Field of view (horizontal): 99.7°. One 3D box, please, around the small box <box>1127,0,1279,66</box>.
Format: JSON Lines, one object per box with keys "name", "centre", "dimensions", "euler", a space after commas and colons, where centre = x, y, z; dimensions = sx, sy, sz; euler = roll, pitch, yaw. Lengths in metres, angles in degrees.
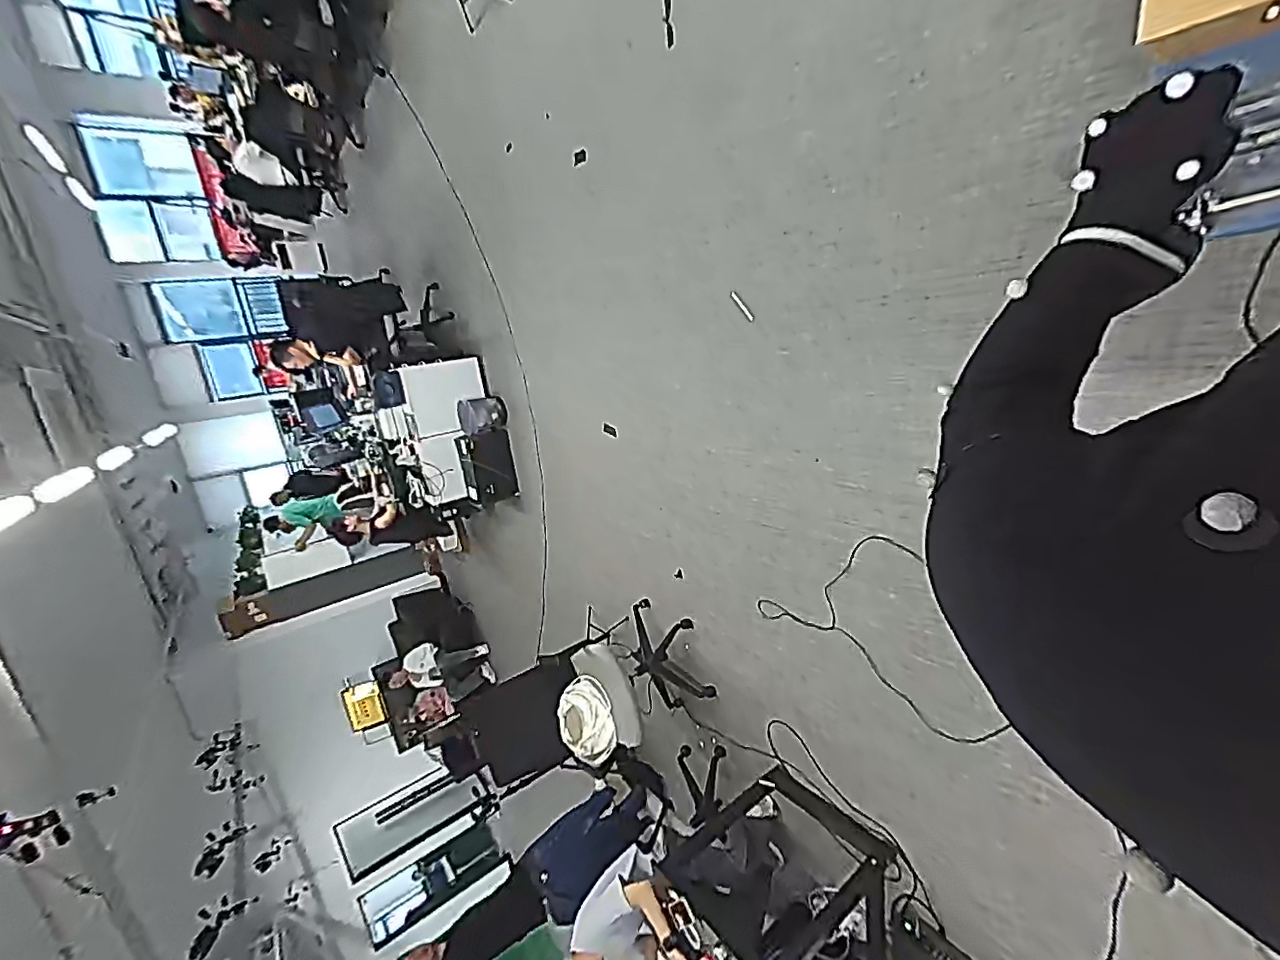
{"name": "small box", "centre": [0.832, -0.719, 0.758], "dimensions": [0.179, 0.176, 0.168], "euler": [15, 117, 50]}
